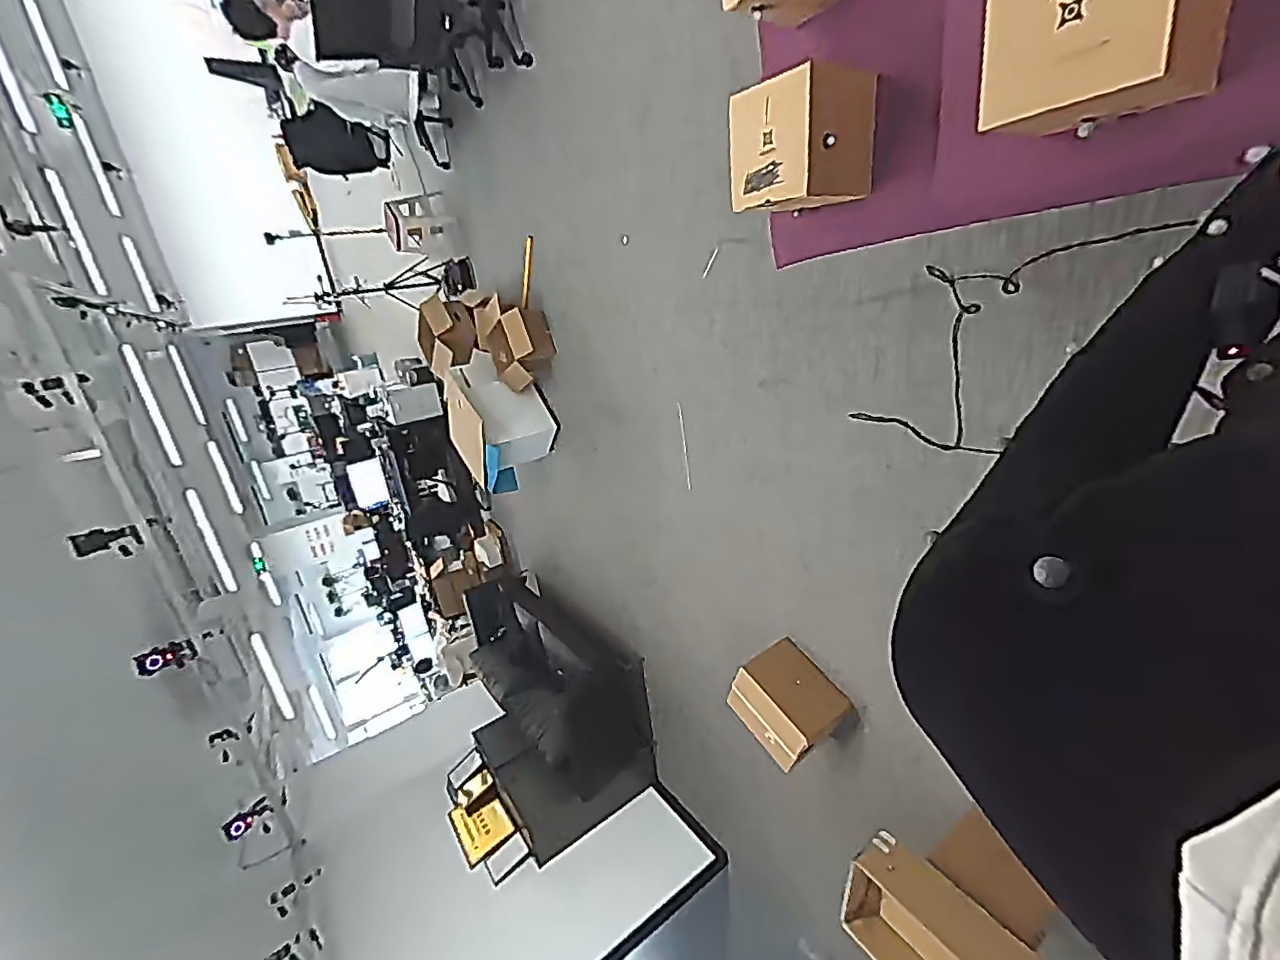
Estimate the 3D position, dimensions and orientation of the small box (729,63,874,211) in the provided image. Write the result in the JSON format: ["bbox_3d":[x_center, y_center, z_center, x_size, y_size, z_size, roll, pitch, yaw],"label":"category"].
[{"bbox_3d":[0.268,-0.560,0.903,0.168,0.176,0.179,22,124,51],"label":"small box"}]

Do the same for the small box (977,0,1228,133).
[{"bbox_3d":[0.497,-0.498,0.582,0.168,0.176,0.179,20,124,53],"label":"small box"}]

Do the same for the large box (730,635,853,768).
[{"bbox_3d":[0.685,1.005,2.490,0.408,0.320,0.320,43,141,36],"label":"large box"}]
